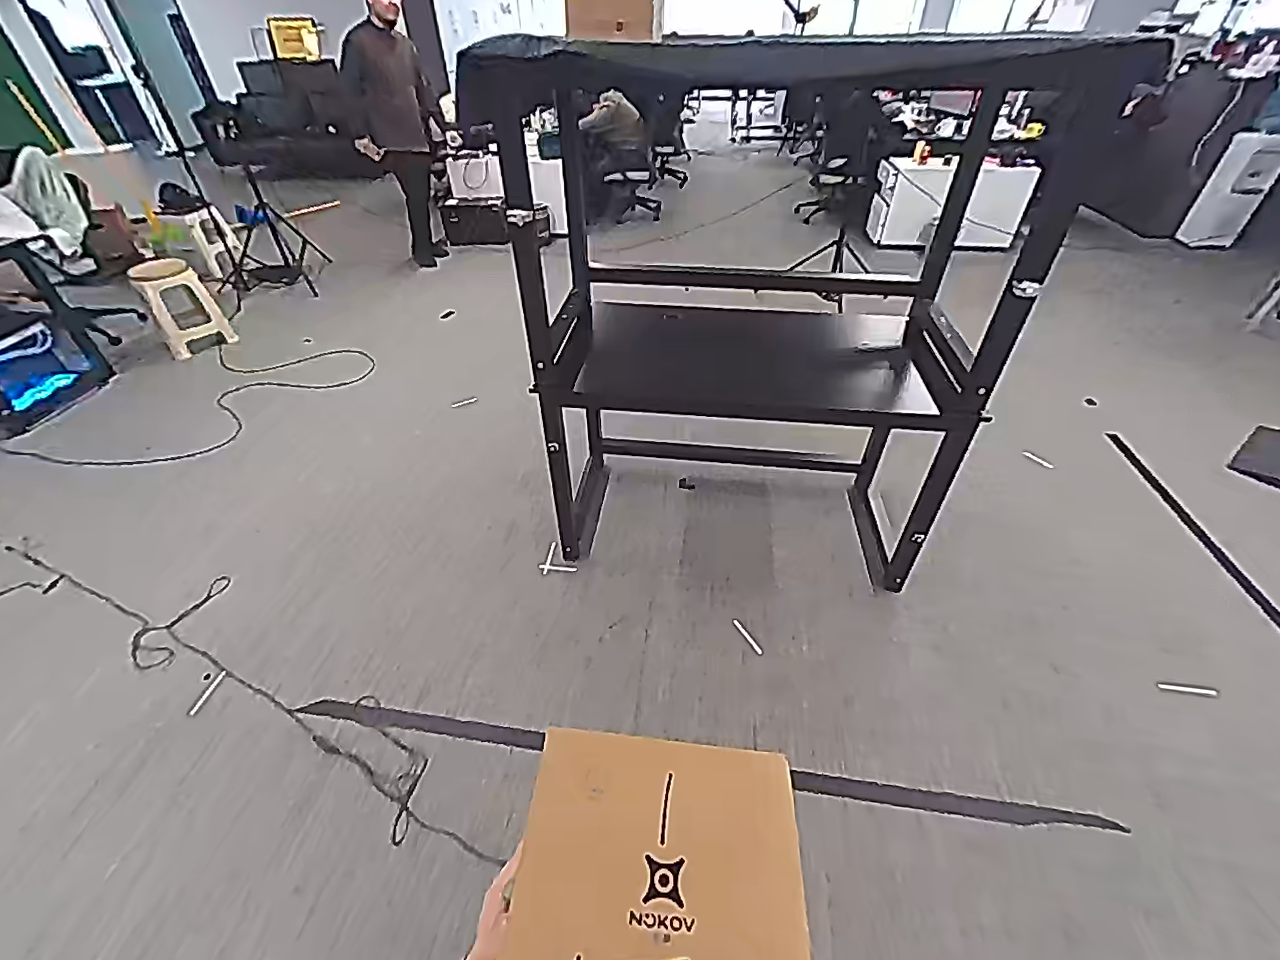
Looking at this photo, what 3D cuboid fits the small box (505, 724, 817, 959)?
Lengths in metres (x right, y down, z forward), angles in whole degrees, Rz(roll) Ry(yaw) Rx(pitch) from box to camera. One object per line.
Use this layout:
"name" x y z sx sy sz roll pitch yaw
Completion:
"small box" 0.009 0.292 0.355 0.168 0.176 0.179 7 41 1

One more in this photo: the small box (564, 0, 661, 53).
"small box" -0.048 -0.919 1.021 0.168 0.176 0.179 5 38 5
